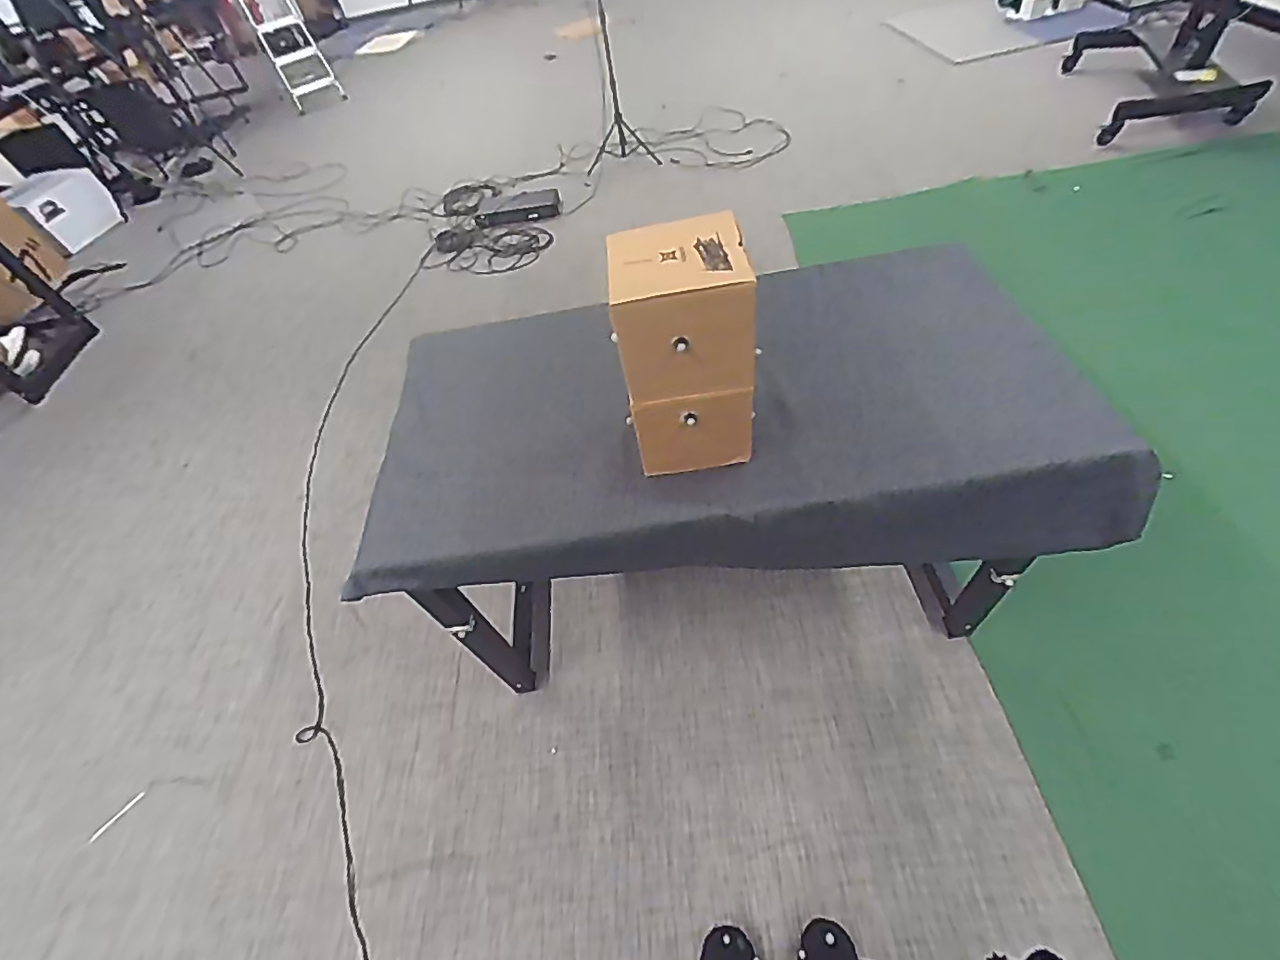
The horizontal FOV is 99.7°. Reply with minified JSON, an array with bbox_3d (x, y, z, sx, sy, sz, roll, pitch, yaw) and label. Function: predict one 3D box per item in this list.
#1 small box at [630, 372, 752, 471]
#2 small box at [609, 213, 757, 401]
[{"bbox_3d":[0.078,-0.130,0.870,0.179,0.176,0.168,-7,53,3],"label":"small box"},{"bbox_3d":[0.058,-0.230,0.741,0.179,0.176,0.168,-8,53,6],"label":"small box"}]
